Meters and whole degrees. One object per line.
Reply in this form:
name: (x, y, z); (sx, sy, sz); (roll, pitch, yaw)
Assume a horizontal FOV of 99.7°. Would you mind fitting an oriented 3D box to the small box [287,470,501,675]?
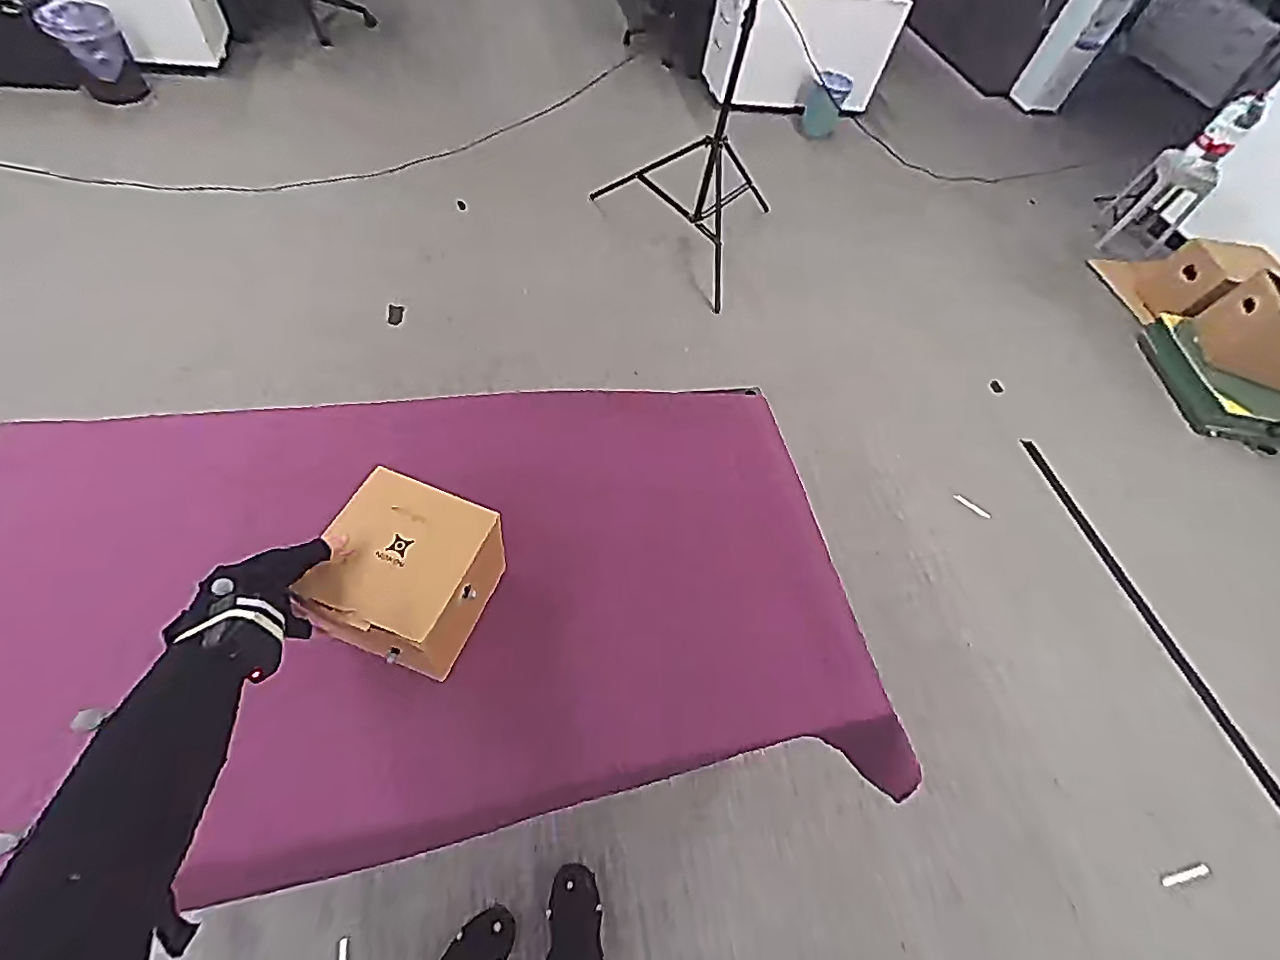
small box: (-0.287, 0.124, 0.683); (0.168, 0.176, 0.179); (20, 56, 3)
